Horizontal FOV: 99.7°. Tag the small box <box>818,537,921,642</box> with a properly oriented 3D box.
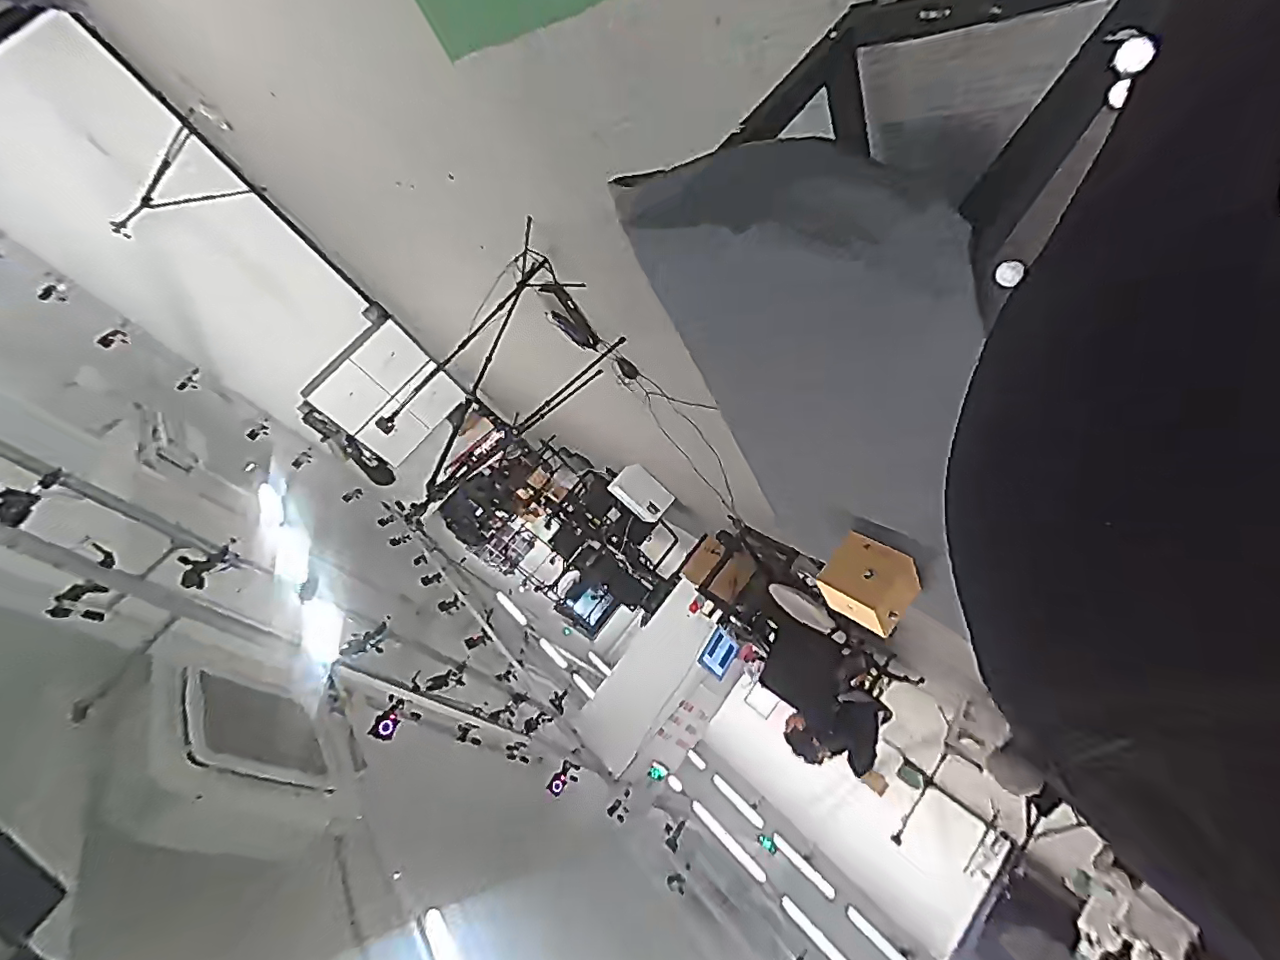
[{"bbox_3d":[0.585,0.272,1.371,0.168,0.176,0.179,28,164,46],"label":"small box"}]
